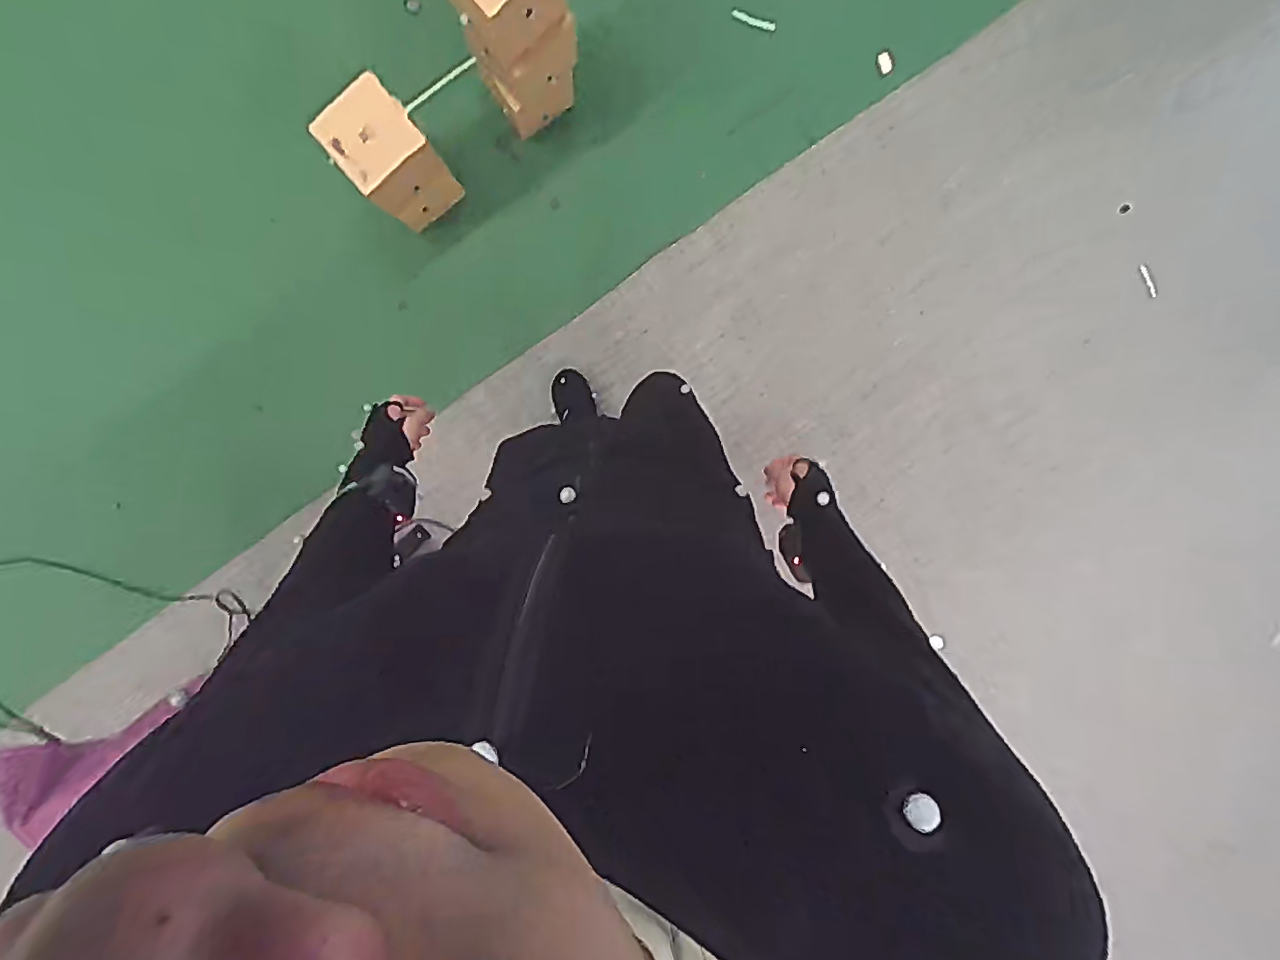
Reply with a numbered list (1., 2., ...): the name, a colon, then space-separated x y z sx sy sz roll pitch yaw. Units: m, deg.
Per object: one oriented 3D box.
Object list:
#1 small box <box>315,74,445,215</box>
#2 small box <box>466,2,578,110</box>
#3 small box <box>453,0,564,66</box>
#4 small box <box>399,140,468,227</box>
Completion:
1. small box: -0.554 -0.723 1.188 0.179 0.176 0.168 -39 101 4
2. small box: -0.251 -0.952 1.159 0.168 0.176 0.179 -44 102 6
3. small box: -0.253 -0.930 0.994 0.179 0.176 0.168 -41 102 6
4. small box: -0.560 -0.758 1.348 0.168 0.176 0.179 -36 101 5
